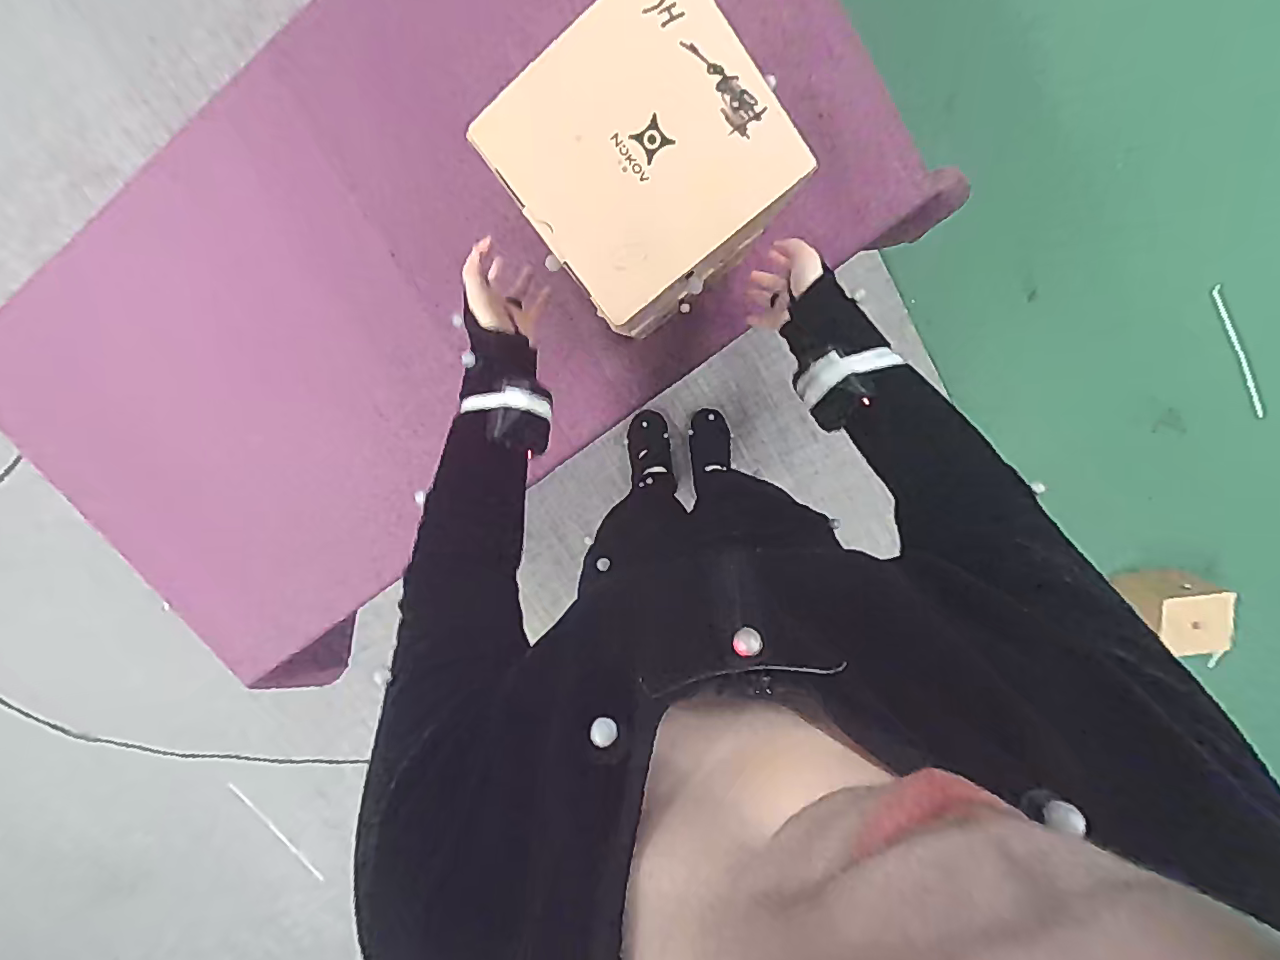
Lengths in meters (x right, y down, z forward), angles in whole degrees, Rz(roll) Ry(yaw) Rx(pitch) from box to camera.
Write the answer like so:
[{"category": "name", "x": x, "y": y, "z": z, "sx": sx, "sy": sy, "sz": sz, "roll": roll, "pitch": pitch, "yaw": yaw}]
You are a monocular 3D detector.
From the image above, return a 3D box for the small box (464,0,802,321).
[{"category": "small box", "x": -0.001, "y": -0.247, "z": 0.442, "sx": 0.179, "sy": 0.176, "sz": 0.168, "roll": -36, "pitch": 100, "yaw": 10}]

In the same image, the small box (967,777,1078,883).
[{"category": "small box", "x": 1.130, "y": 1.035, "z": 1.612, "sx": 0.179, "sy": 0.176, "sz": 0.168, "roll": -43, "pitch": 98, "yaw": 11}]

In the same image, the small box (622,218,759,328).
[{"category": "small box", "x": 0.003, "y": -0.286, "z": 0.601, "sx": 0.168, "sy": 0.176, "sz": 0.179, "roll": -37, "pitch": 100, "yaw": 10}]

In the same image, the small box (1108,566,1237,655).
[{"category": "small box", "x": 1.411, "y": 0.341, "z": 1.443, "sx": 0.179, "sy": 0.176, "sz": 0.168, "roll": -8, "pitch": 103, "yaw": 4}]
